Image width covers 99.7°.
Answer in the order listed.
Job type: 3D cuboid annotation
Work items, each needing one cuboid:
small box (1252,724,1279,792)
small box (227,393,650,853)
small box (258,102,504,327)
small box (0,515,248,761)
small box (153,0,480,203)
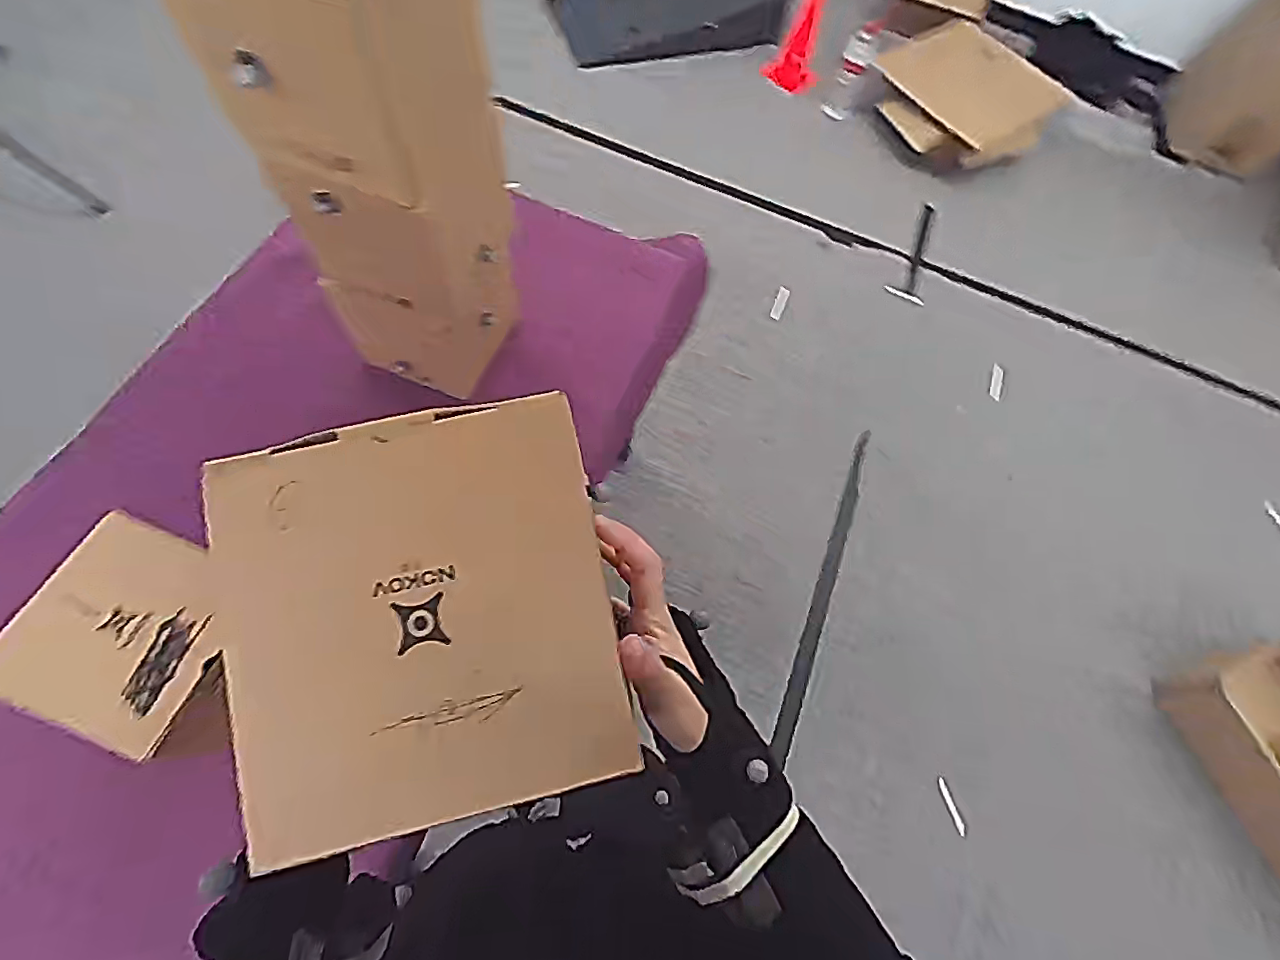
[{"bbox_3d":[1.736,0.716,1.363,0.179,0.176,0.168,-15,69,-14],"label":"small box"},{"bbox_3d":[-0.095,0.068,0.319,0.168,0.176,0.179,-11,83,-4],"label":"small box"},{"bbox_3d":[-0.261,-0.307,0.601,0.168,0.176,0.179,18,66,1],"label":"small box"},{"bbox_3d":[-0.462,0.162,0.553,0.179,0.176,0.168,22,66,3],"label":"small box"},{"bbox_3d":[-0.250,-0.373,0.452,0.168,0.176,0.179,18,67,1],"label":"small box"}]
